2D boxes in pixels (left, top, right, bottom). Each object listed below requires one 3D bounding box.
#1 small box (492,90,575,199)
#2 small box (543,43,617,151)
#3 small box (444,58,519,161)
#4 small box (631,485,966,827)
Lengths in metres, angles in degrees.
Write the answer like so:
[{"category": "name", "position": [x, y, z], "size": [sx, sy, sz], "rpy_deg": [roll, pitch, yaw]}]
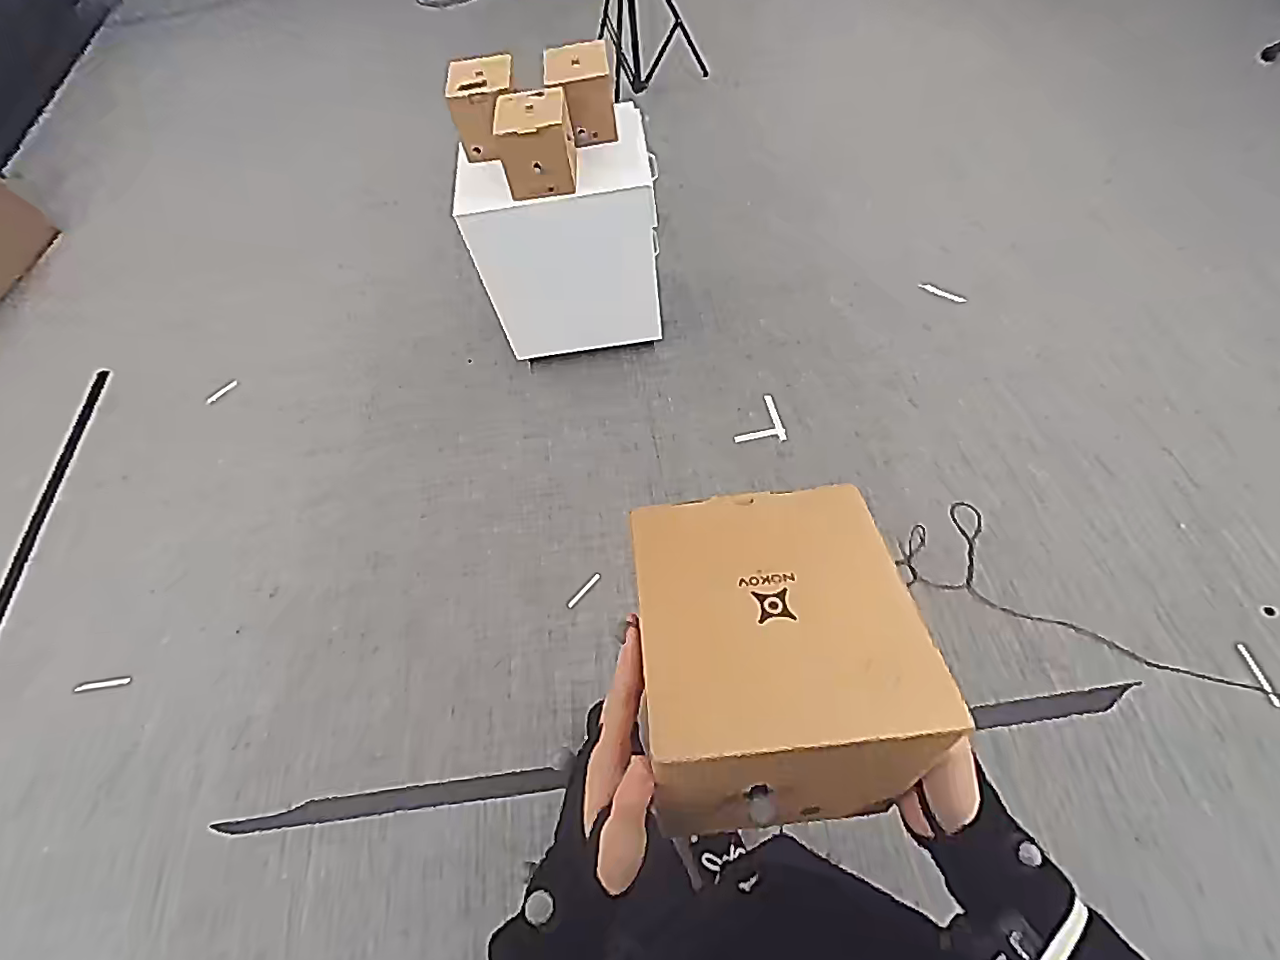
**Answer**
[{"category": "small box", "position": [-0.258, -0.826, 1.347], "size": [0.168, 0.176, 0.179], "rpy_deg": [-6, 61, 3]}, {"category": "small box", "position": [-0.158, -1.011, 1.439], "size": [0.168, 0.176, 0.179], "rpy_deg": [-9, 63, 3]}, {"category": "small box", "position": [-0.406, -0.981, 1.446], "size": [0.168, 0.176, 0.179], "rpy_deg": [-6, 61, 2]}, {"category": "small box", "position": [0.086, 0.129, 0.388], "size": [0.168, 0.176, 0.179], "rpy_deg": [-6, 44, -1]}]
